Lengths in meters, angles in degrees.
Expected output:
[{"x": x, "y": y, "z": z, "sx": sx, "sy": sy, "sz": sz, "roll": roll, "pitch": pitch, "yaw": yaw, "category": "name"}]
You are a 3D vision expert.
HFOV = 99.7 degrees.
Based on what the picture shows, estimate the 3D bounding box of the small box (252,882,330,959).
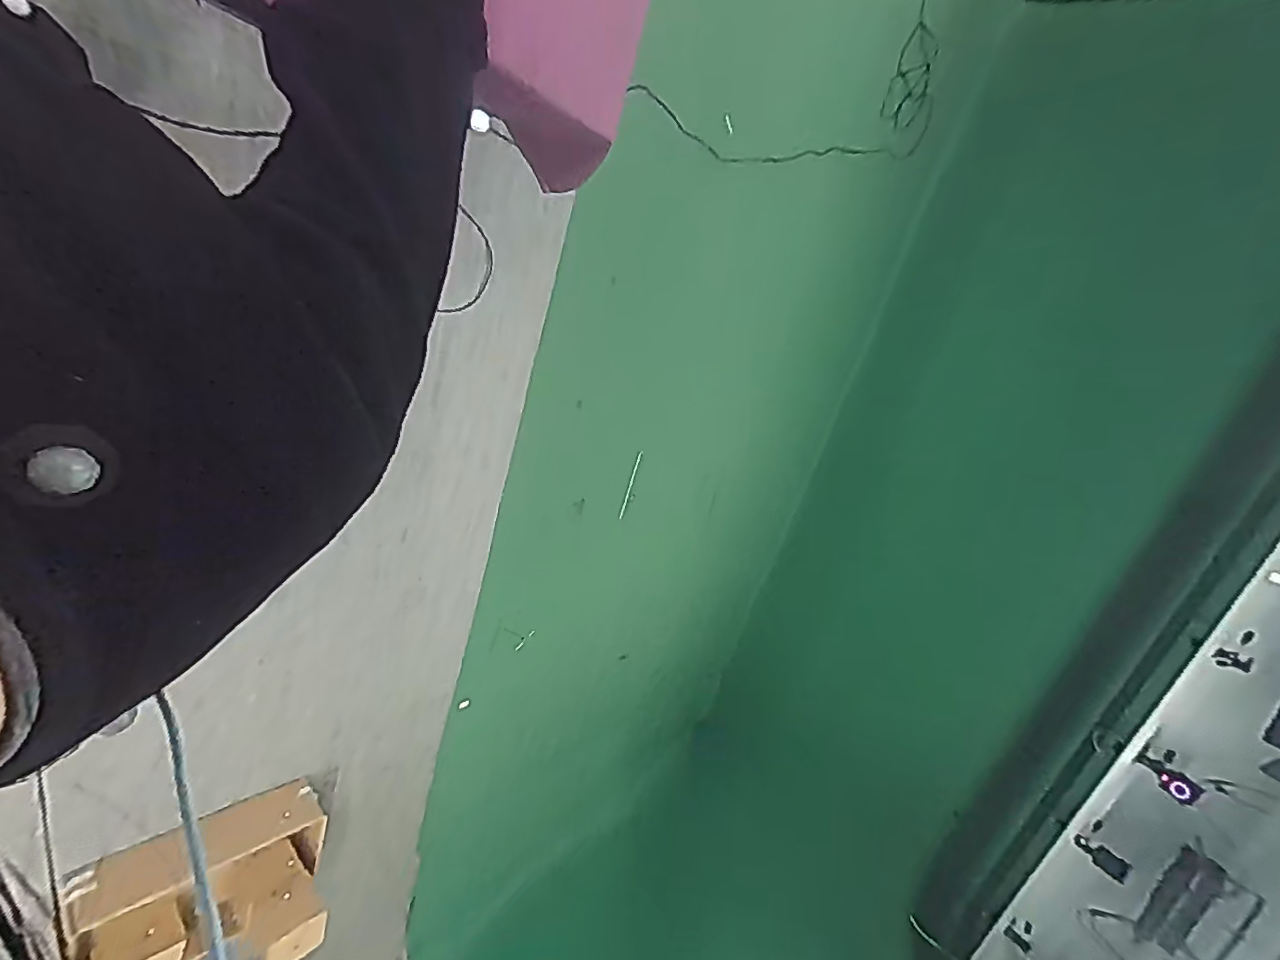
[{"x": -1.134, "y": 1.468, "z": 1.751, "sx": 0.168, "sy": 0.176, "sz": 0.179, "roll": -7, "pitch": 119, "yaw": -52, "category": "small box"}]
